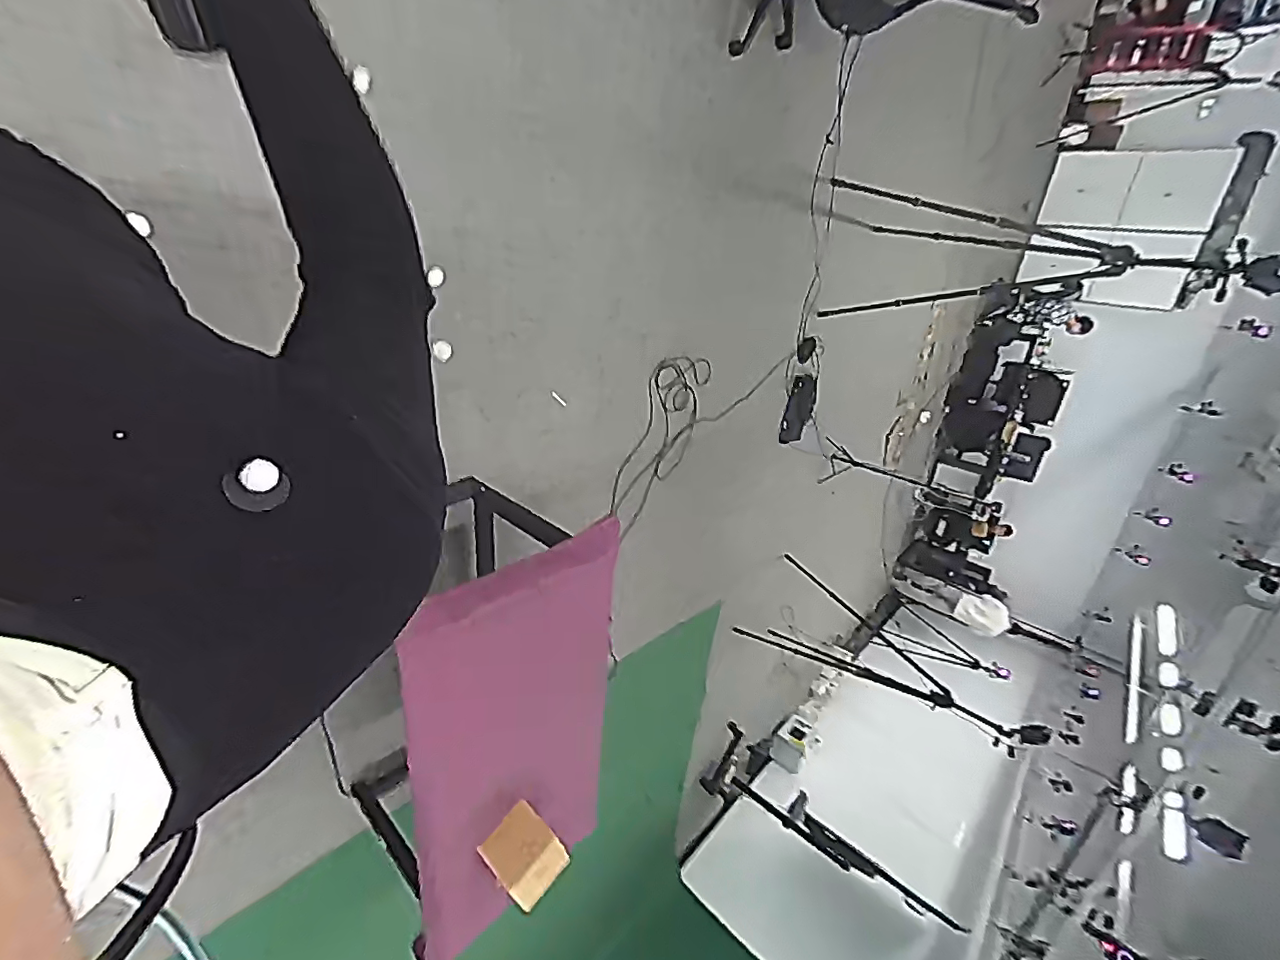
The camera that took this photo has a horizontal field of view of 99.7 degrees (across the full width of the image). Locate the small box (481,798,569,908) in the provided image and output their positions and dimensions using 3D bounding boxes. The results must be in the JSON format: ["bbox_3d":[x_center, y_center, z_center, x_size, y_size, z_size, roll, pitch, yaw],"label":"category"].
[{"bbox_3d":[-0.344,1.094,1.595,0.179,0.176,0.168,-39,136,-31],"label":"small box"}]
